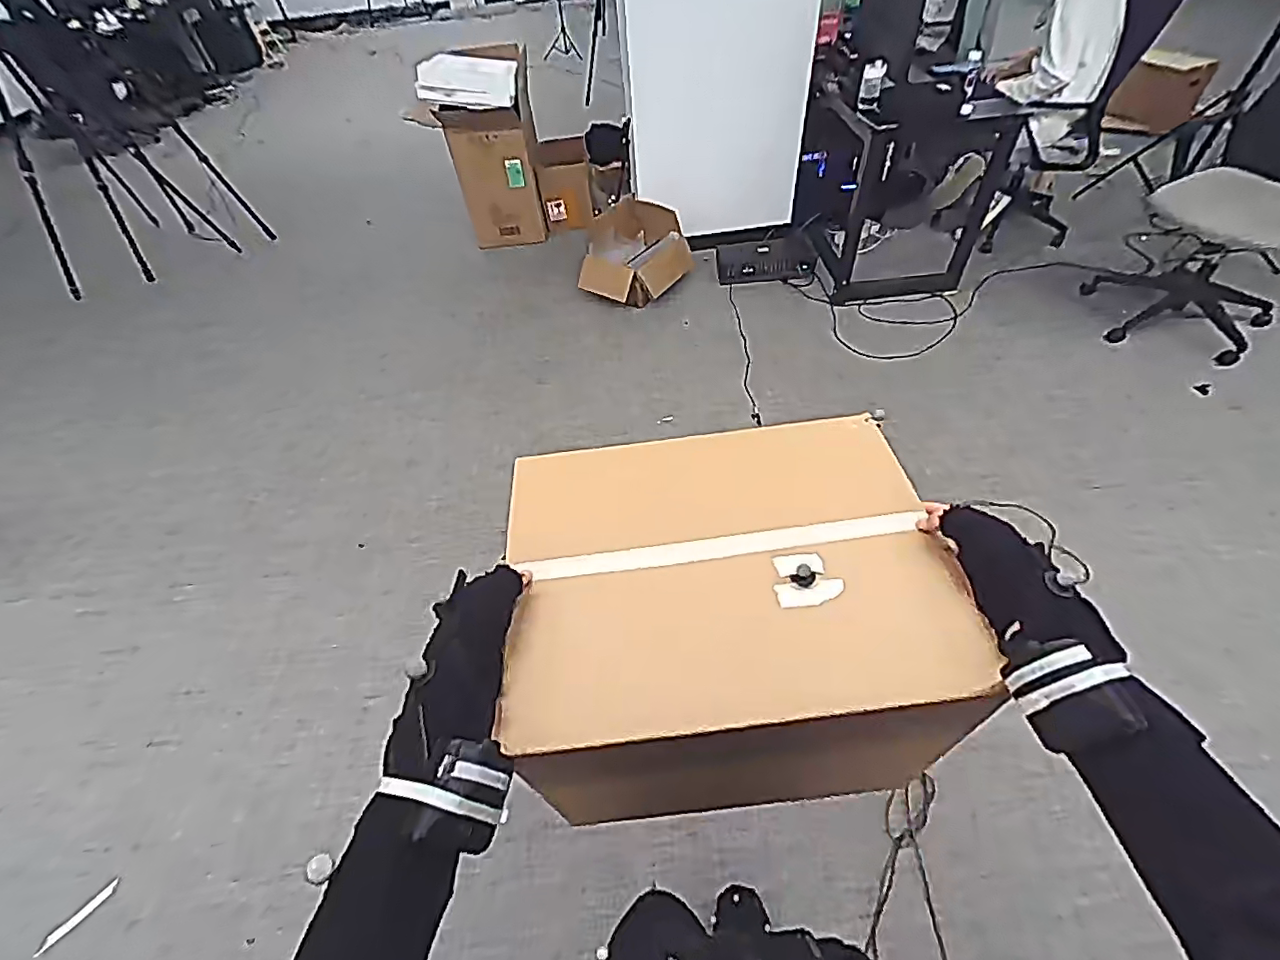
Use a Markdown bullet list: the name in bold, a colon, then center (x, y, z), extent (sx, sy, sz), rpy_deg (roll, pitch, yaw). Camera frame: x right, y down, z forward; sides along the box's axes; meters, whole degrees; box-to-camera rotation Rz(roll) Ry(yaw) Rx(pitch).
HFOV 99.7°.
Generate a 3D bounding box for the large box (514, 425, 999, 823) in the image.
- **large box**: center (0.090, 0.173, 0.638), extent (0.408, 0.320, 0.320), rpy_deg (-8, 48, 0)
